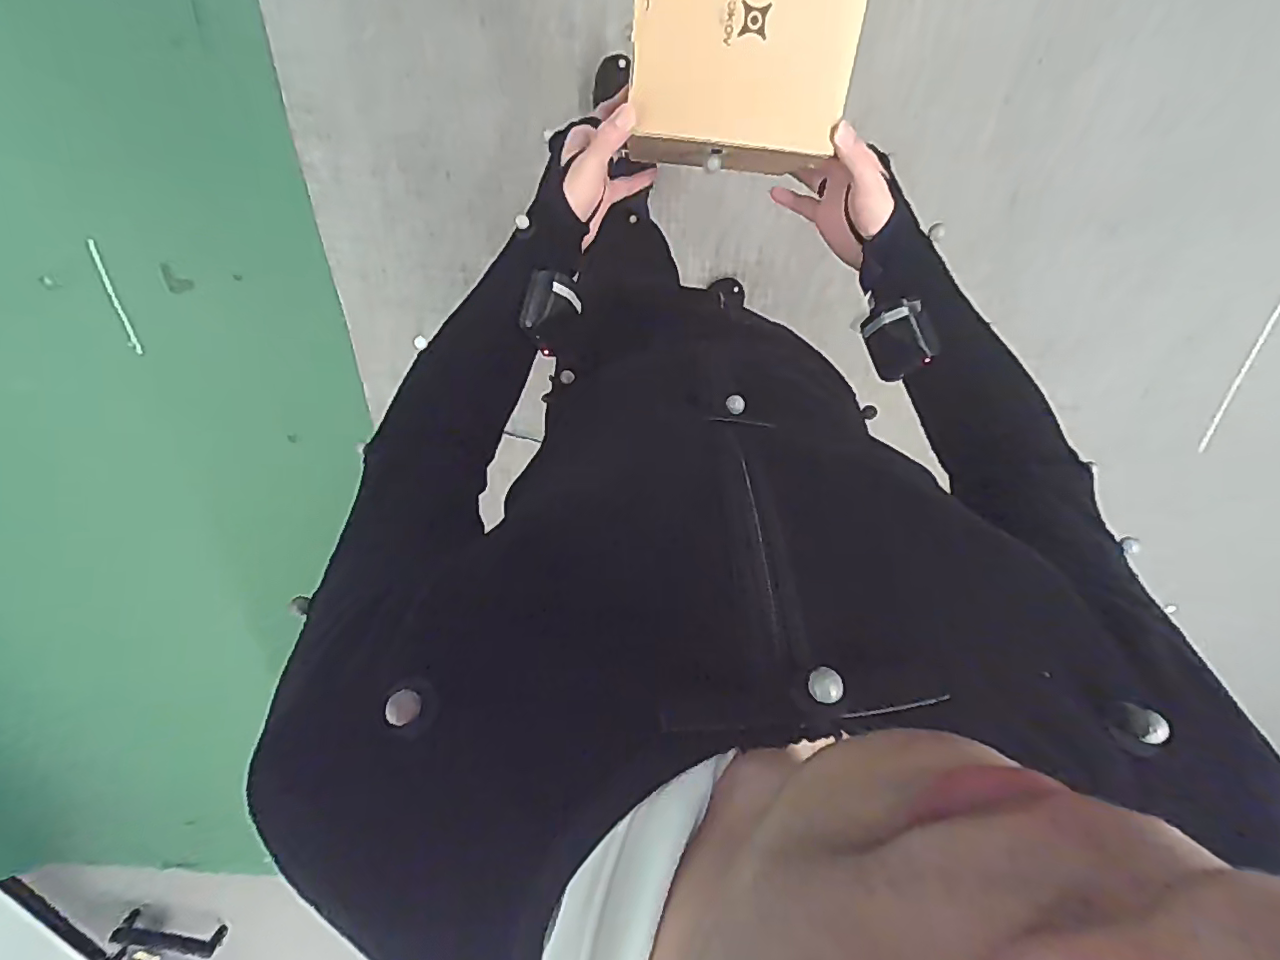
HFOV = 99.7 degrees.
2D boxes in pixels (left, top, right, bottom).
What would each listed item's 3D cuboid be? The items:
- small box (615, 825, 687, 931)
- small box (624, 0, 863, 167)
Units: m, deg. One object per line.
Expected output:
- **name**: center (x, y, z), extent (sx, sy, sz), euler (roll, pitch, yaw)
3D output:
- **small box**: center (0.032, 1.039, 1.420), extent (0.179, 0.176, 0.168), euler (2, 120, 3)
- **small box**: center (0.083, -0.390, 0.487), extent (0.179, 0.176, 0.168), euler (6, 115, 0)
